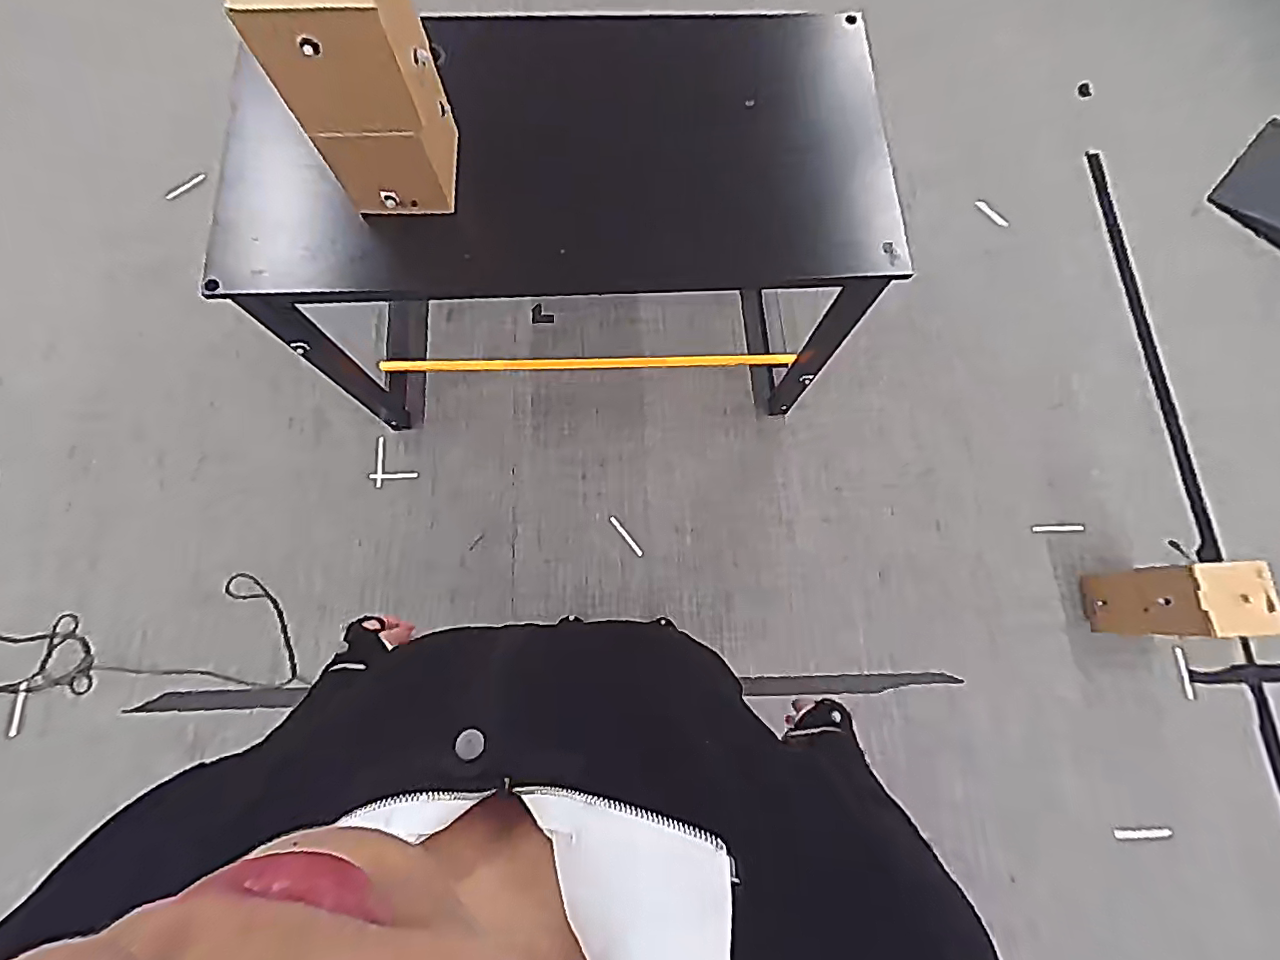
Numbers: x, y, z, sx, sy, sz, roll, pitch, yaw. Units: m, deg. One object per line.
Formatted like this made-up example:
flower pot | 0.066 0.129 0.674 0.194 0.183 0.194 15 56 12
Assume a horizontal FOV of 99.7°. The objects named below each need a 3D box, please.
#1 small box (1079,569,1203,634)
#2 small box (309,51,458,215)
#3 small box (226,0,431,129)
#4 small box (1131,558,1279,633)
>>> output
small box | 1.354 0.329 1.466 0.179 0.176 0.168 -1 76 -2
small box | -0.407 -0.568 0.889 0.168 0.176 0.179 -2 77 -1
small box | -0.402 -0.607 0.729 0.179 0.176 0.168 -3 76 -3
small box | 1.347 0.284 1.309 0.179 0.176 0.168 -3 76 -2
